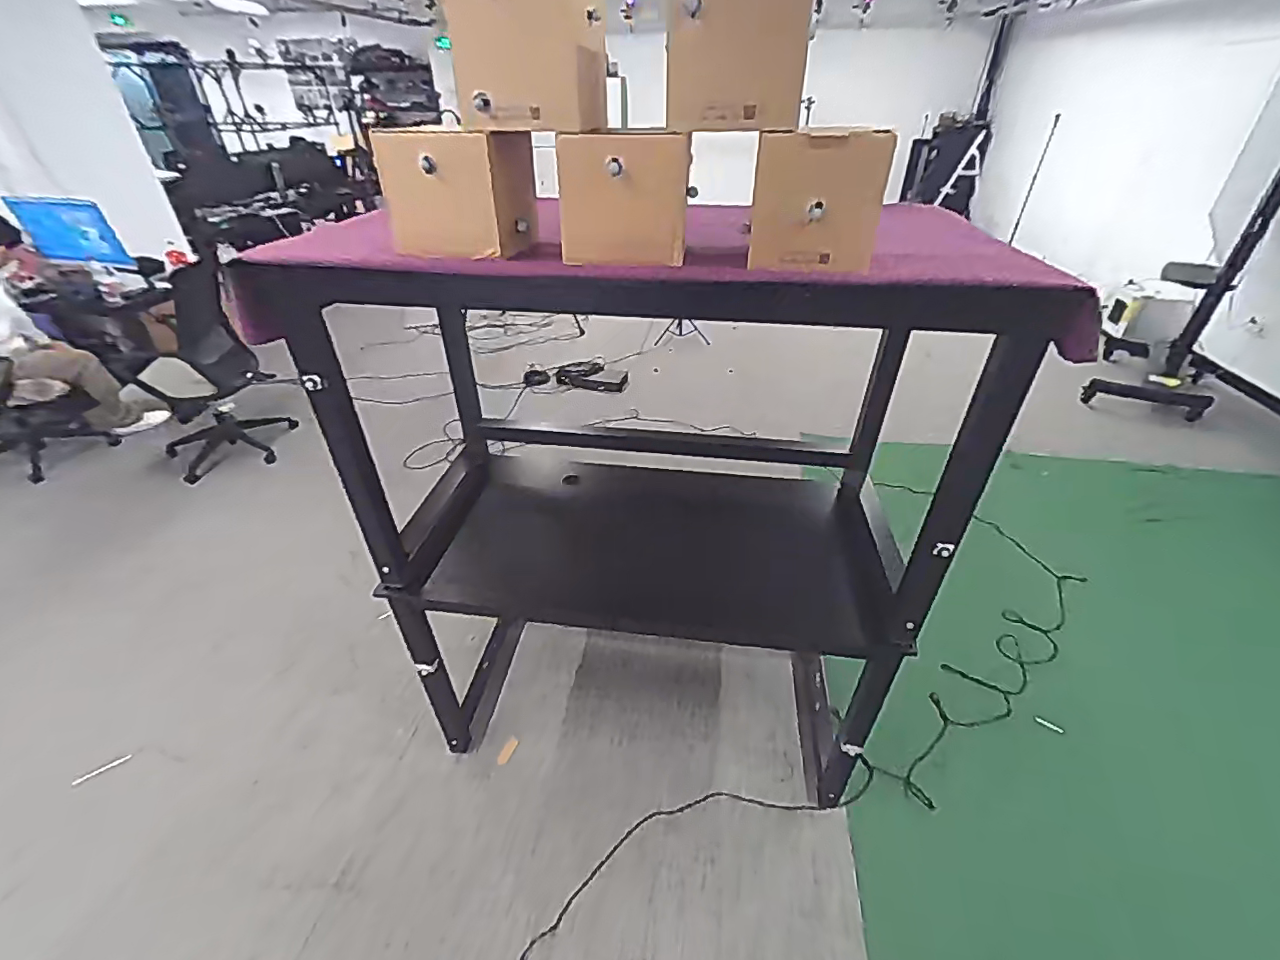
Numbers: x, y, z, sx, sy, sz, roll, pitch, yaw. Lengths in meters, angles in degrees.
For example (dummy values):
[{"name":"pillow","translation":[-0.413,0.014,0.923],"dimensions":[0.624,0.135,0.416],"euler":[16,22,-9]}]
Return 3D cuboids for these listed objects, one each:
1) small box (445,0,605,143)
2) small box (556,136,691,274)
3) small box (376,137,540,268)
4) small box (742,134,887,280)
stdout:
[{"name":"small box","translation":[-0.144,-0.570,0.753],"dimensions":[0.168,0.176,0.179],"euler":[5,34,7]},{"name":"small box","translation":[-0.017,-0.416,0.819],"dimensions":[0.179,0.176,0.168],"euler":[3,34,6]},{"name":"small box","translation":[-0.272,-0.438,0.850],"dimensions":[0.179,0.176,0.168],"euler":[8,35,10]},{"name":"small box","translation":[0.242,-0.400,0.790],"dimensions":[0.168,0.176,0.179],"euler":[6,36,8]}]
